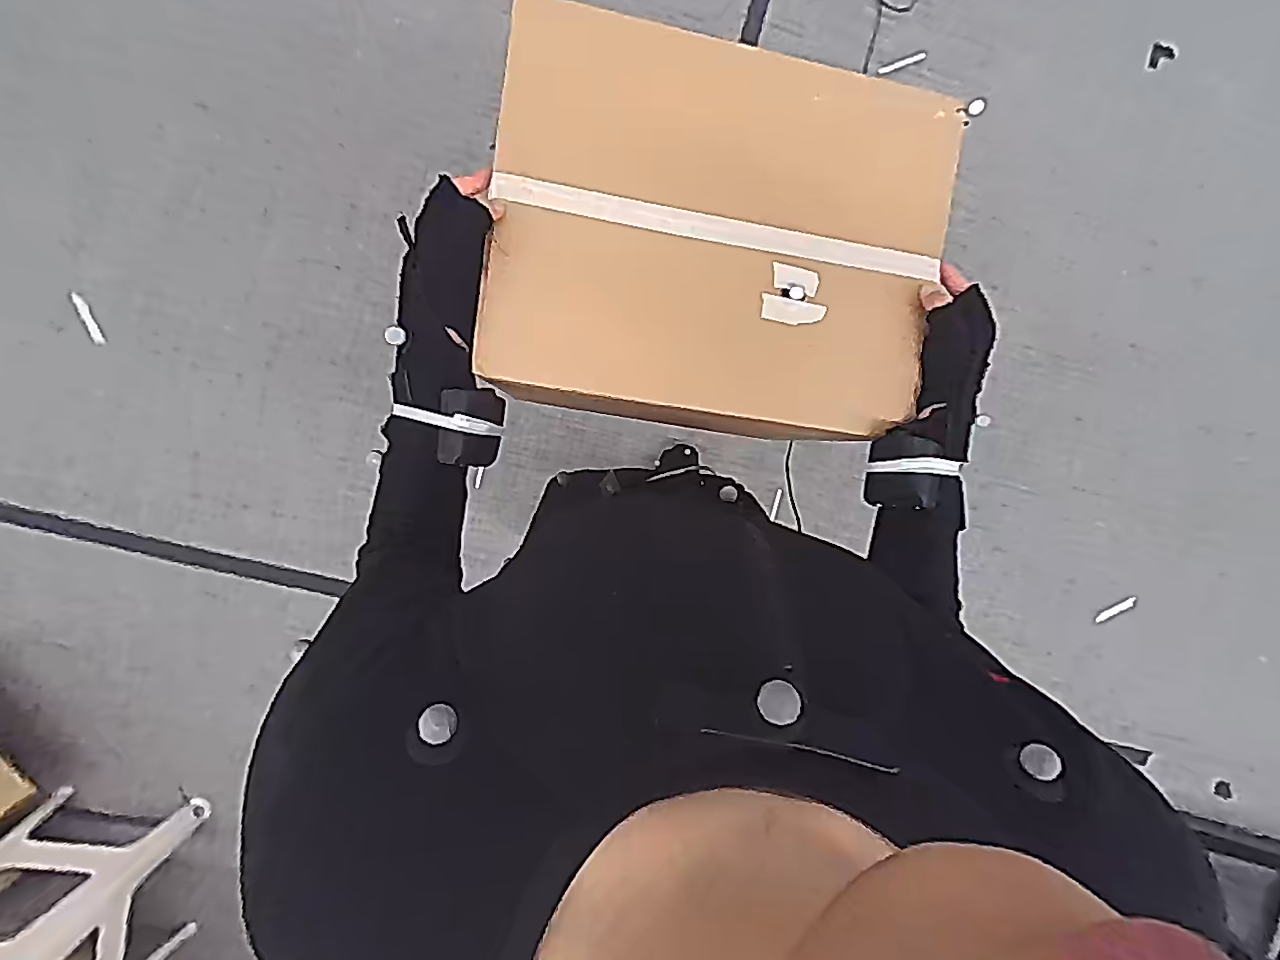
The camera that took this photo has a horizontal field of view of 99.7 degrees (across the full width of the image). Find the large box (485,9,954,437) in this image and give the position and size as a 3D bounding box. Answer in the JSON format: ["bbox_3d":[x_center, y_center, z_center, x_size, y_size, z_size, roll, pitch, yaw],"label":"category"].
[{"bbox_3d":[0.057,-0.230,0.631,0.408,0.320,0.320,8,95,-8],"label":"large box"}]
